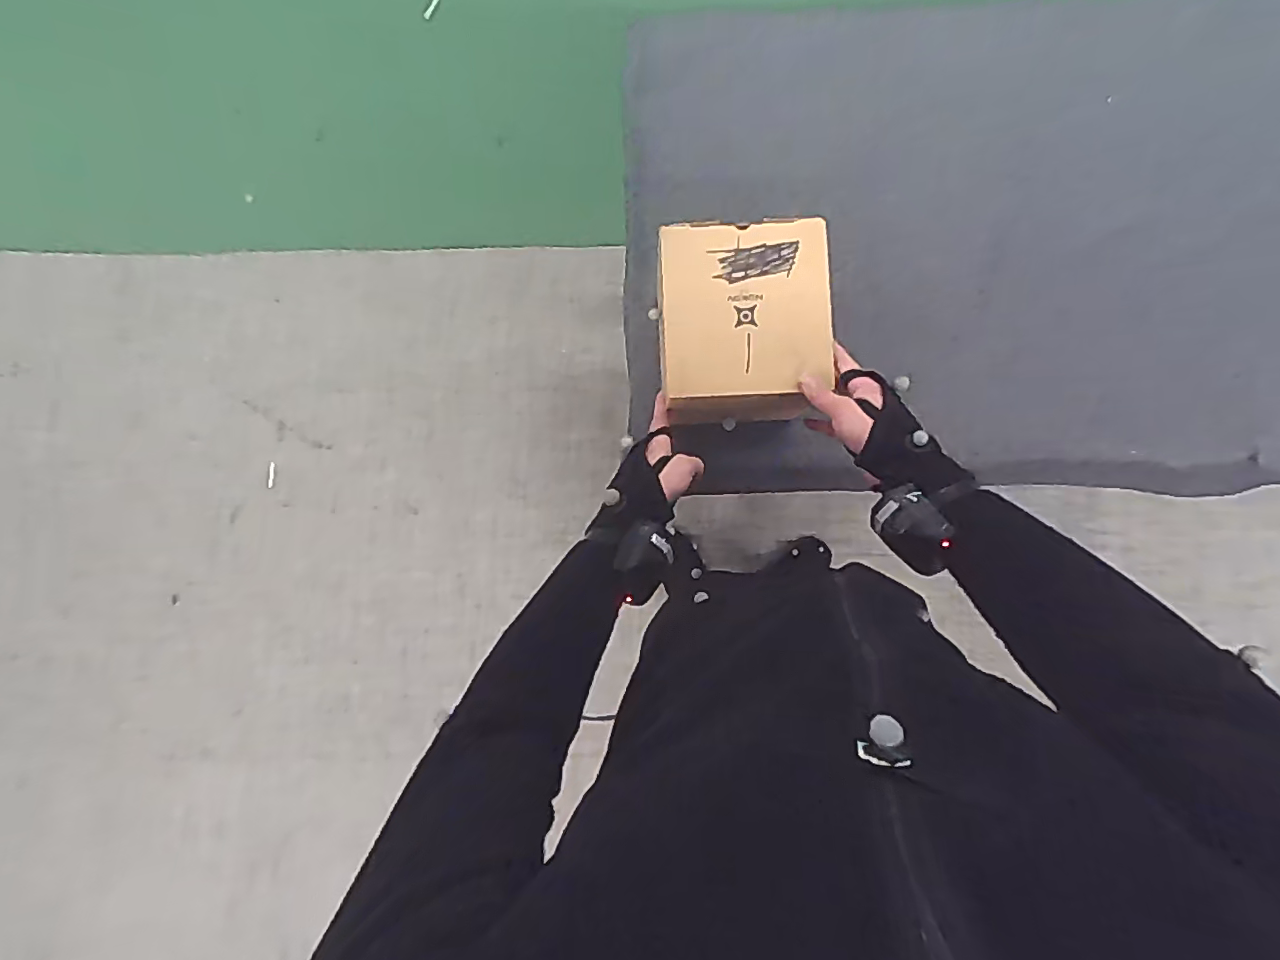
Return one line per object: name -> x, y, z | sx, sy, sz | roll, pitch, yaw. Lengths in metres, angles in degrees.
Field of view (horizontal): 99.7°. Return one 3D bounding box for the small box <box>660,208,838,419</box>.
small box -> 0.107, -0.171, 0.600 | 0.168, 0.176, 0.179 | -2, 87, 2
